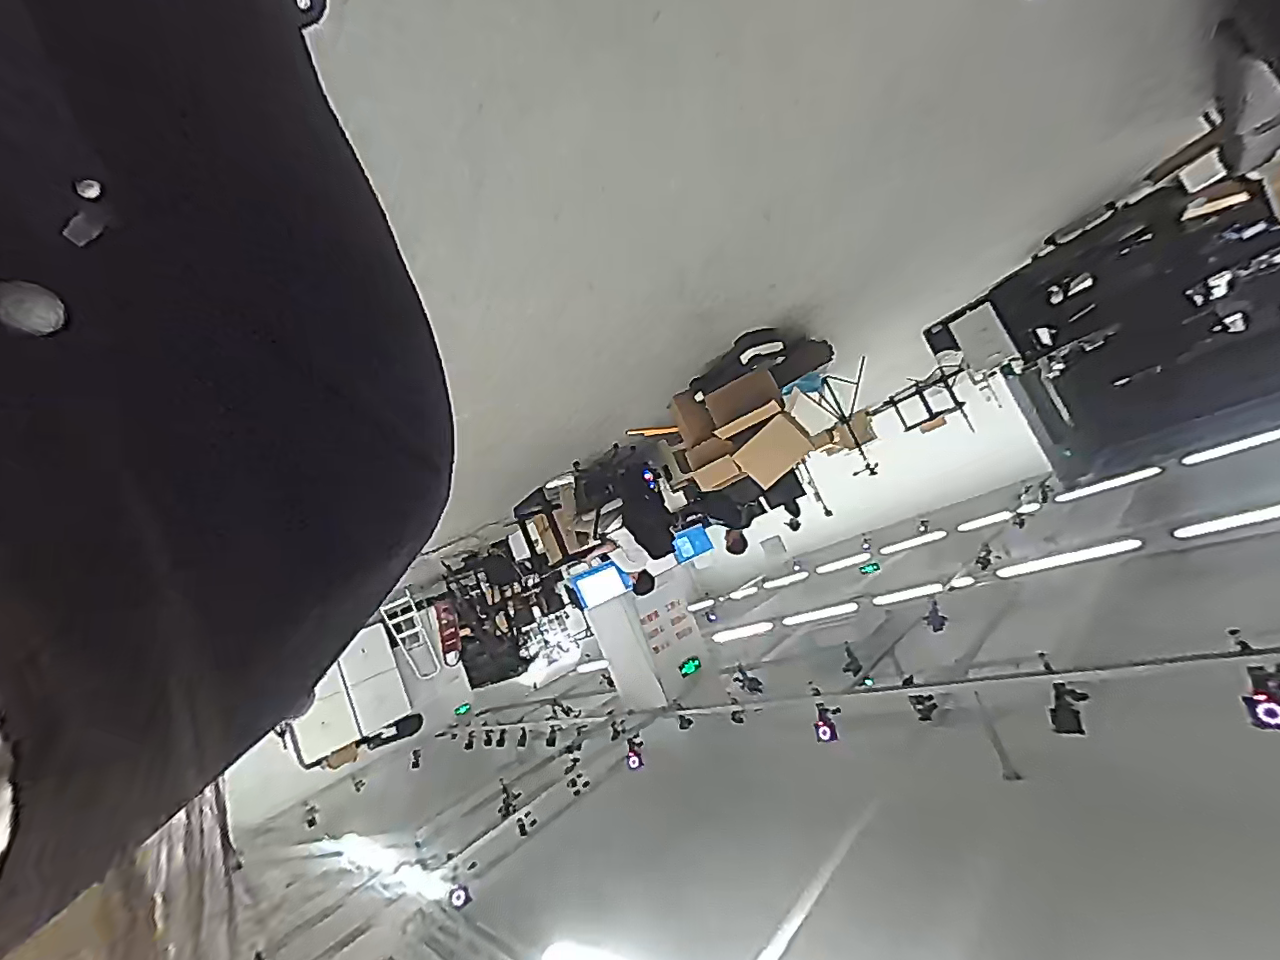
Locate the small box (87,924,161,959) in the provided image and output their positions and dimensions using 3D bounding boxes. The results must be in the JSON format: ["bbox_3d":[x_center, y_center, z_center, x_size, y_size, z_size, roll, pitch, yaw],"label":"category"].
[{"bbox_3d":[-1.536,1.463,1.592,0.168,0.176,0.179,-17,166,-41],"label":"small box"}]
